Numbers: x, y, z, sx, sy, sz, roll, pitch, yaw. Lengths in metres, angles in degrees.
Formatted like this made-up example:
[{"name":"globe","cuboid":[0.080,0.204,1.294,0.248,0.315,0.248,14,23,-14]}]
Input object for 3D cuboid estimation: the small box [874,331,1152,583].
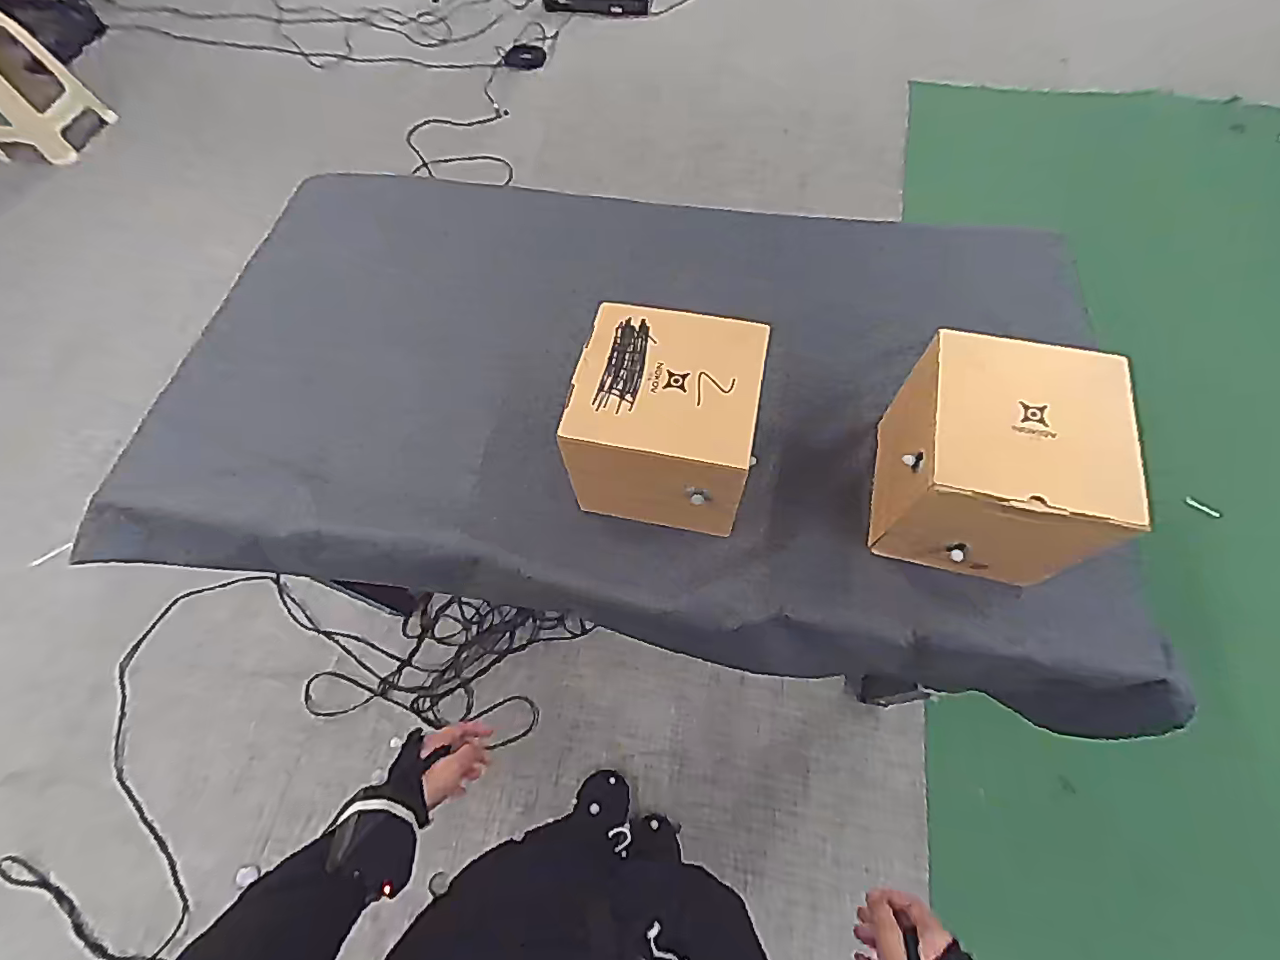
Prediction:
[{"name":"small box","cuboid":[0.349,-0.016,0.544,0.168,0.176,0.179,12,65,9]}]
